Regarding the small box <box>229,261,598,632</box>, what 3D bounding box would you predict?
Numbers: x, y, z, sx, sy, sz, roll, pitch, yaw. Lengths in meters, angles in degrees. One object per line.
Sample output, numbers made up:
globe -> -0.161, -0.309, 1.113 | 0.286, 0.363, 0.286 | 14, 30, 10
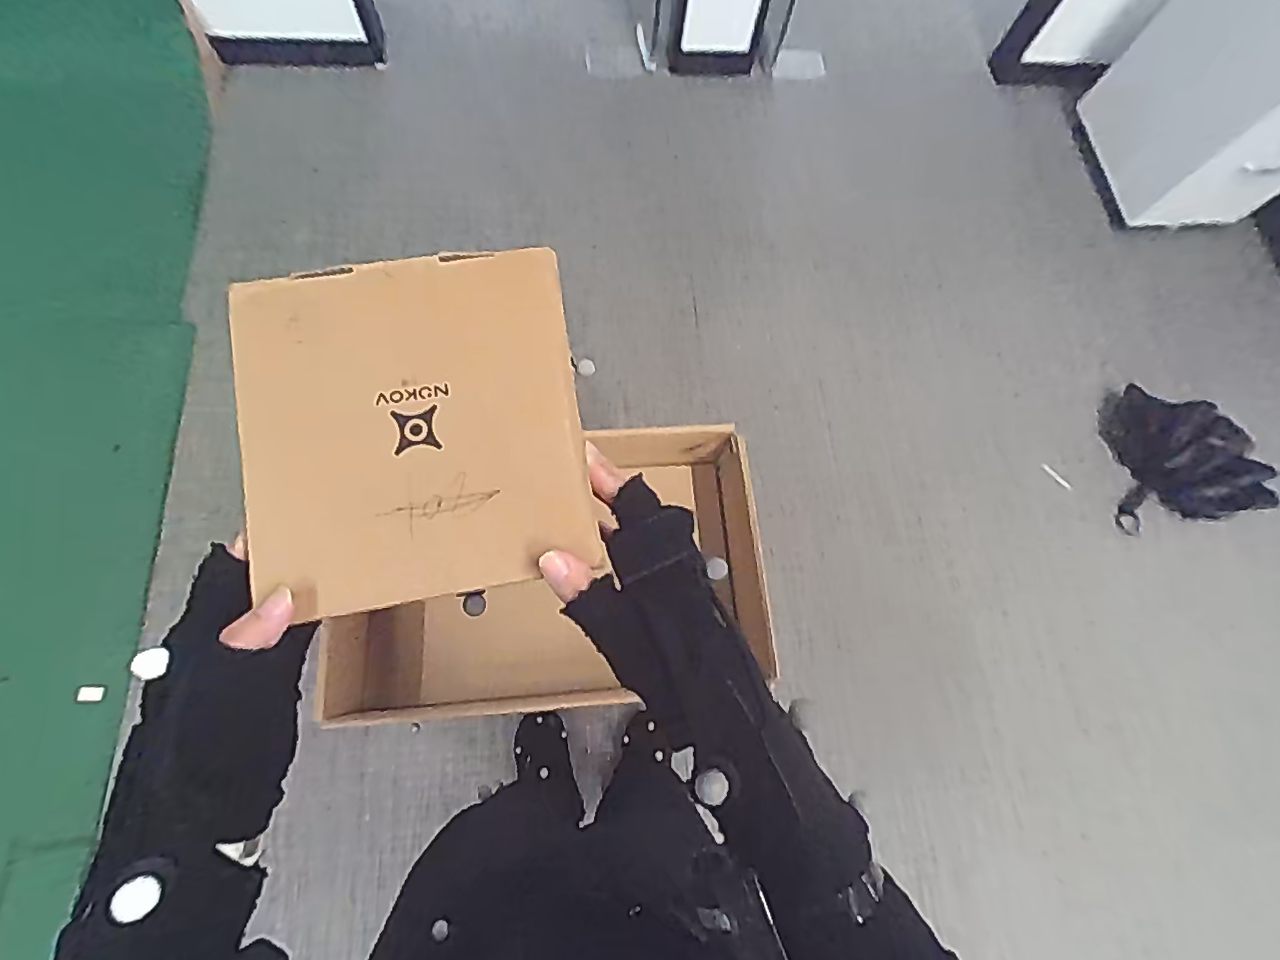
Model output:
small box -> -0.123, -0.011, 0.351 | 0.168, 0.176, 0.179 | -9, 82, -6
